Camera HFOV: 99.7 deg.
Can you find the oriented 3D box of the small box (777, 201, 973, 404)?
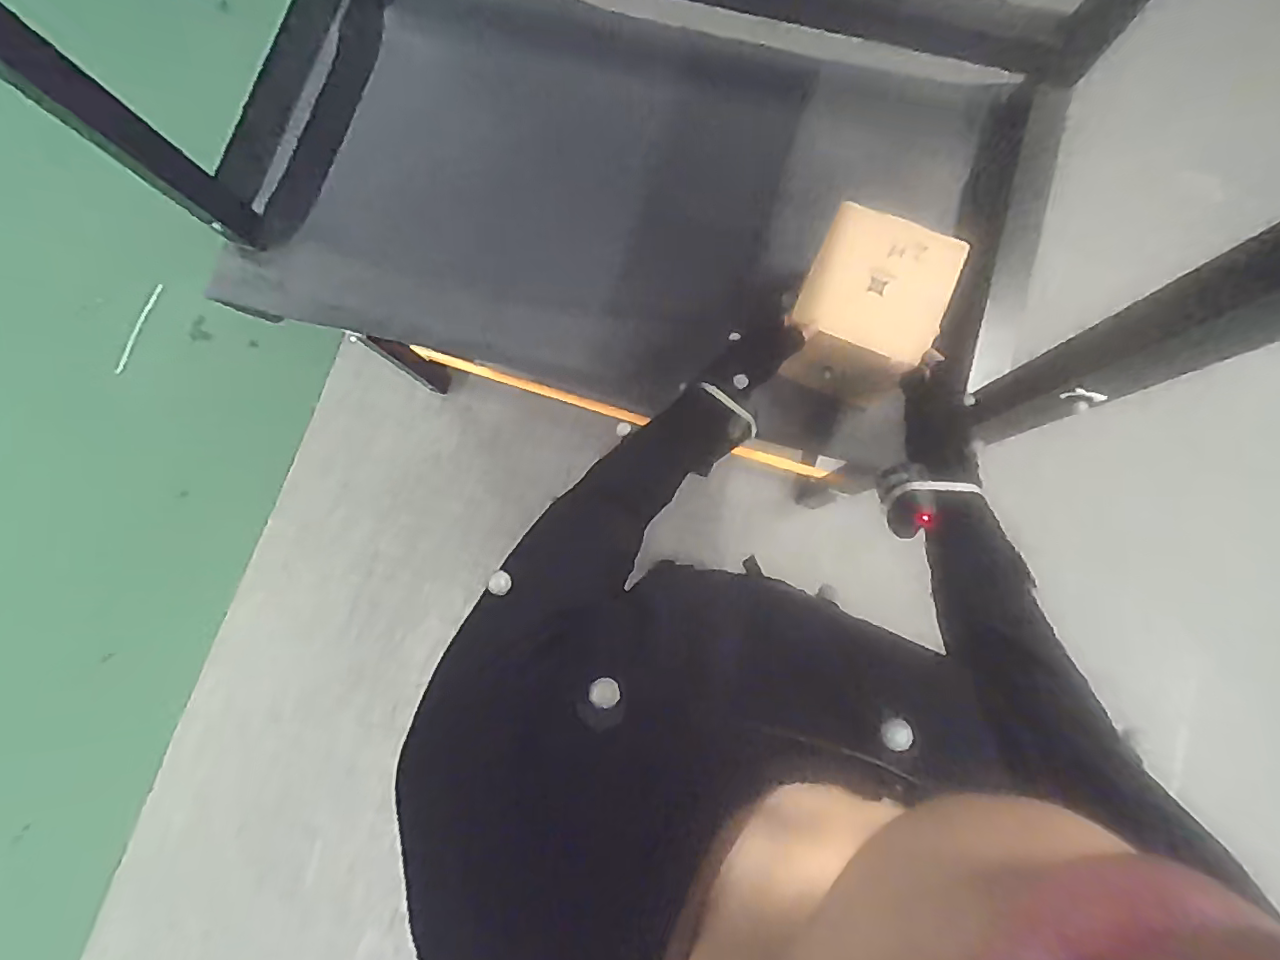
[{"bbox_3d":[0.298,-0.224,0.727,0.168,0.176,0.179,24,83,6],"label":"small box"}]
